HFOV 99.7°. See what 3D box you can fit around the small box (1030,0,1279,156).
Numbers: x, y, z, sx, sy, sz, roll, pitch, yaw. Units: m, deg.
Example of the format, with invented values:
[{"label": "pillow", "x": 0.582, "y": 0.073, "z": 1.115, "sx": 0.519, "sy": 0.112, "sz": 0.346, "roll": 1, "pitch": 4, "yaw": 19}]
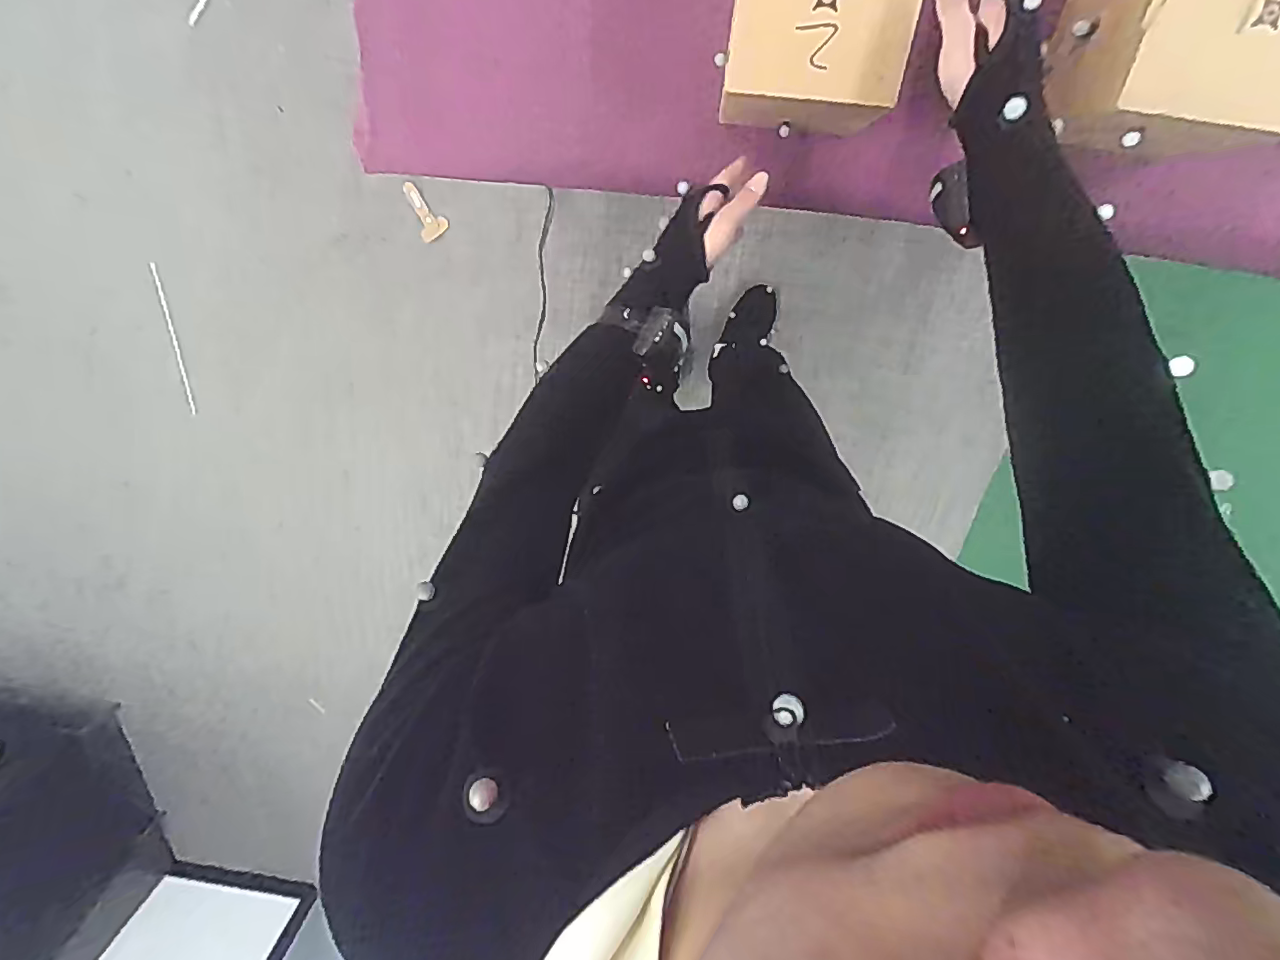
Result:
[{"label": "small box", "x": 0.532, "y": -0.427, "z": 0.523, "sx": 0.179, "sy": 0.176, "sz": 0.168, "roll": 10, "pitch": 116, "yaw": 3}]
